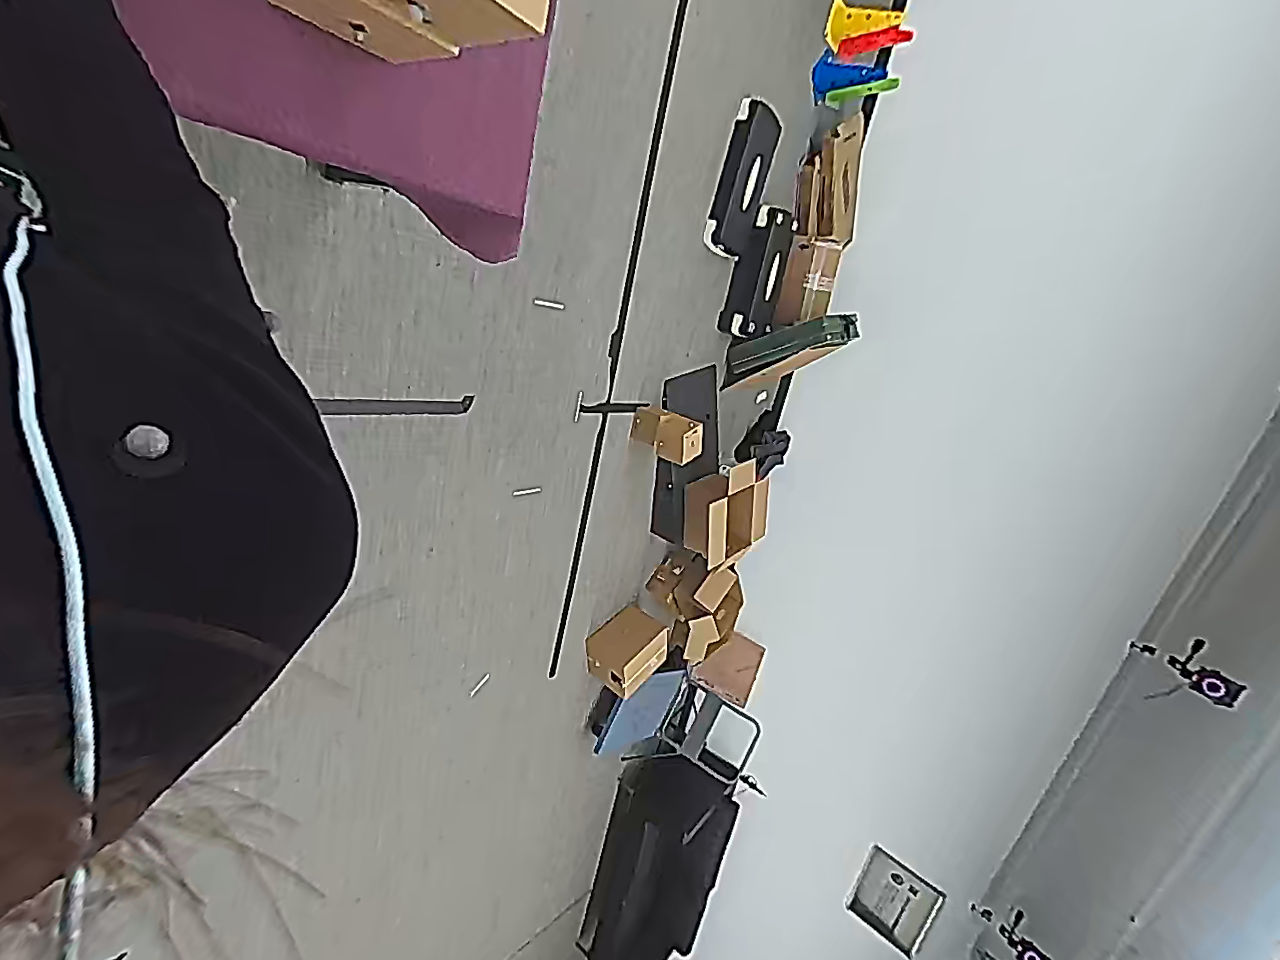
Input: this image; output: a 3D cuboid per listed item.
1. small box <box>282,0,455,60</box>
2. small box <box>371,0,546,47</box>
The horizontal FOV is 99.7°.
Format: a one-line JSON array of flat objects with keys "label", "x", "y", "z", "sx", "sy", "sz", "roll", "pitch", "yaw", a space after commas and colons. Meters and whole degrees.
[{"label": "small box", "x": -0.334, "y": -0.648, "z": 0.659, "sx": 0.168, "sy": 0.176, "sz": 0.179, "roll": -11, "pitch": 119, "yaw": -52}, {"label": "small box", "x": -0.206, "y": -0.599, "z": 0.568, "sx": 0.168, "sy": 0.176, "sz": 0.179, "roll": -10, "pitch": 119, "yaw": -52}]
